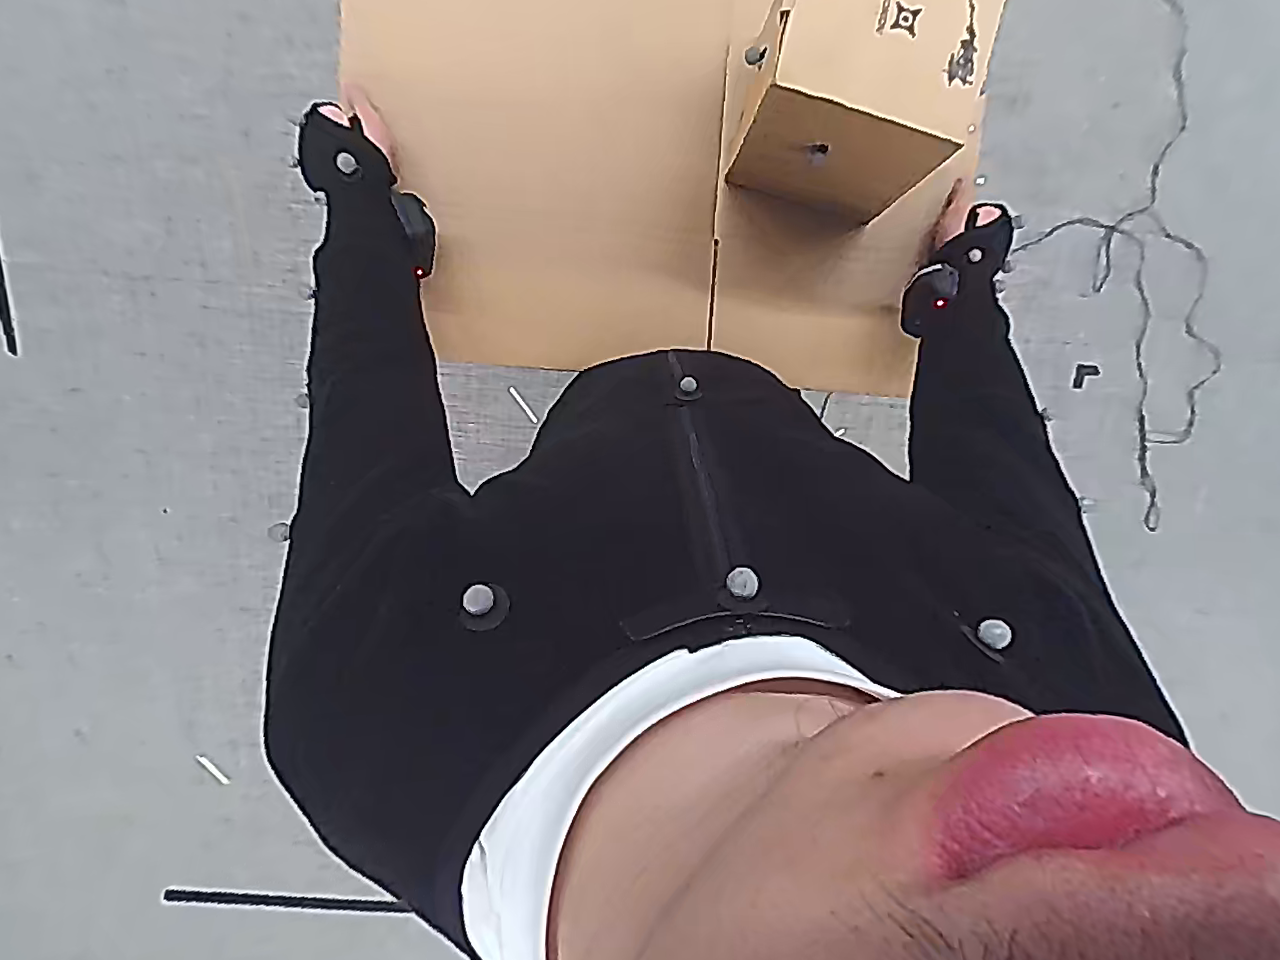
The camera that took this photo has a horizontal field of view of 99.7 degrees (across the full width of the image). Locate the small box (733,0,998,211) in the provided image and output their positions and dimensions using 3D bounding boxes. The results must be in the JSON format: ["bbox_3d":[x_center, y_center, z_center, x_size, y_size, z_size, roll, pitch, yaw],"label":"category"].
[{"bbox_3d":[0.204,-0.393,0.529,0.179,0.176,0.168,14,94,-4],"label":"small box"}]
